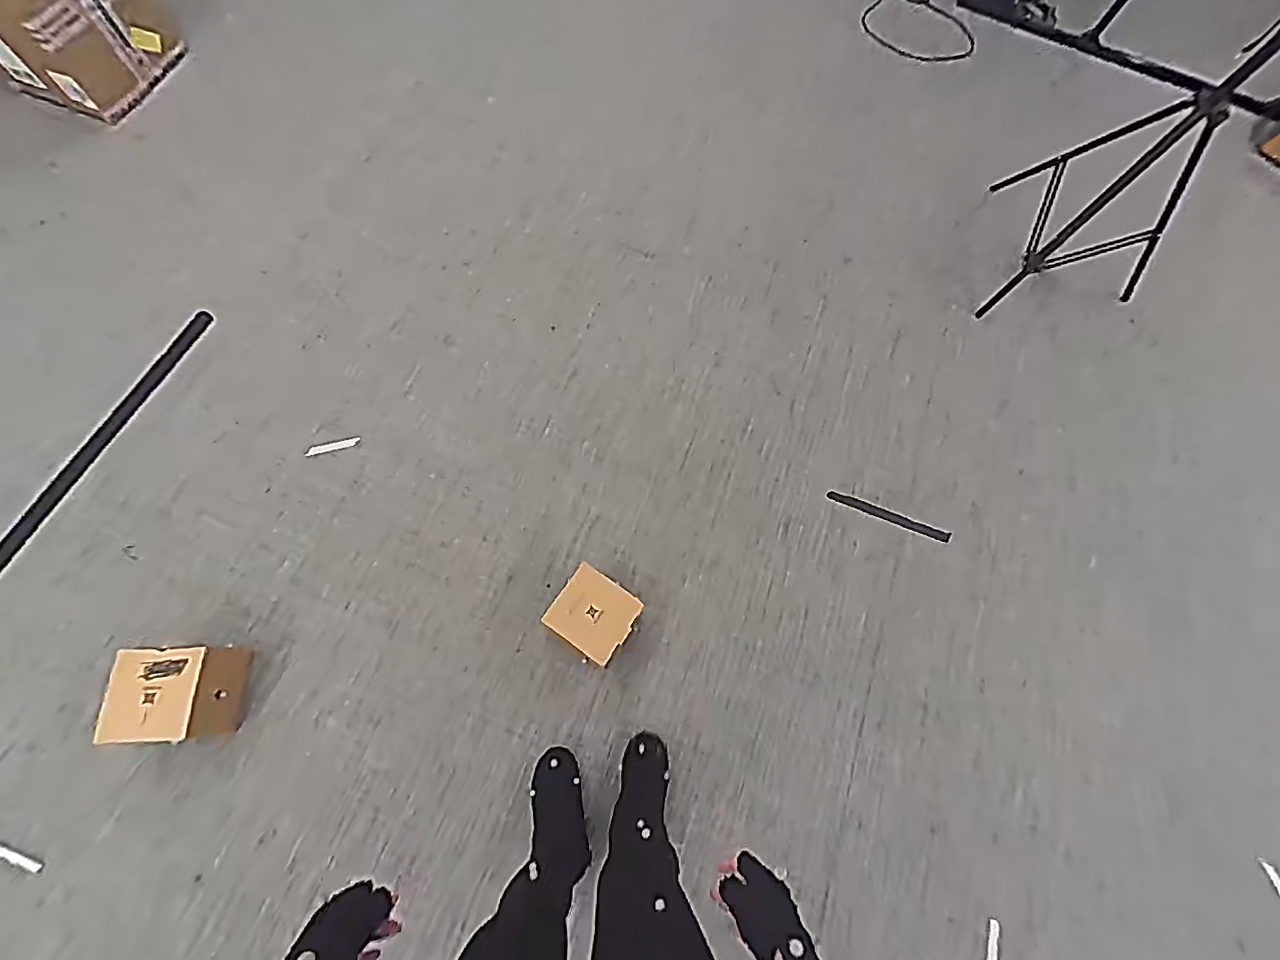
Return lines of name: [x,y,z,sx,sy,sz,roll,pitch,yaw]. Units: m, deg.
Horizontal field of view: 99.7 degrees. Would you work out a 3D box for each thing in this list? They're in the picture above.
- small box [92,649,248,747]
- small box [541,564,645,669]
small box: [-0.962,0.450,1.130,0.168,0.176,0.179,1,71,-6]
small box: [-0.110,0.326,1.273,0.179,0.176,0.168,33,69,7]
